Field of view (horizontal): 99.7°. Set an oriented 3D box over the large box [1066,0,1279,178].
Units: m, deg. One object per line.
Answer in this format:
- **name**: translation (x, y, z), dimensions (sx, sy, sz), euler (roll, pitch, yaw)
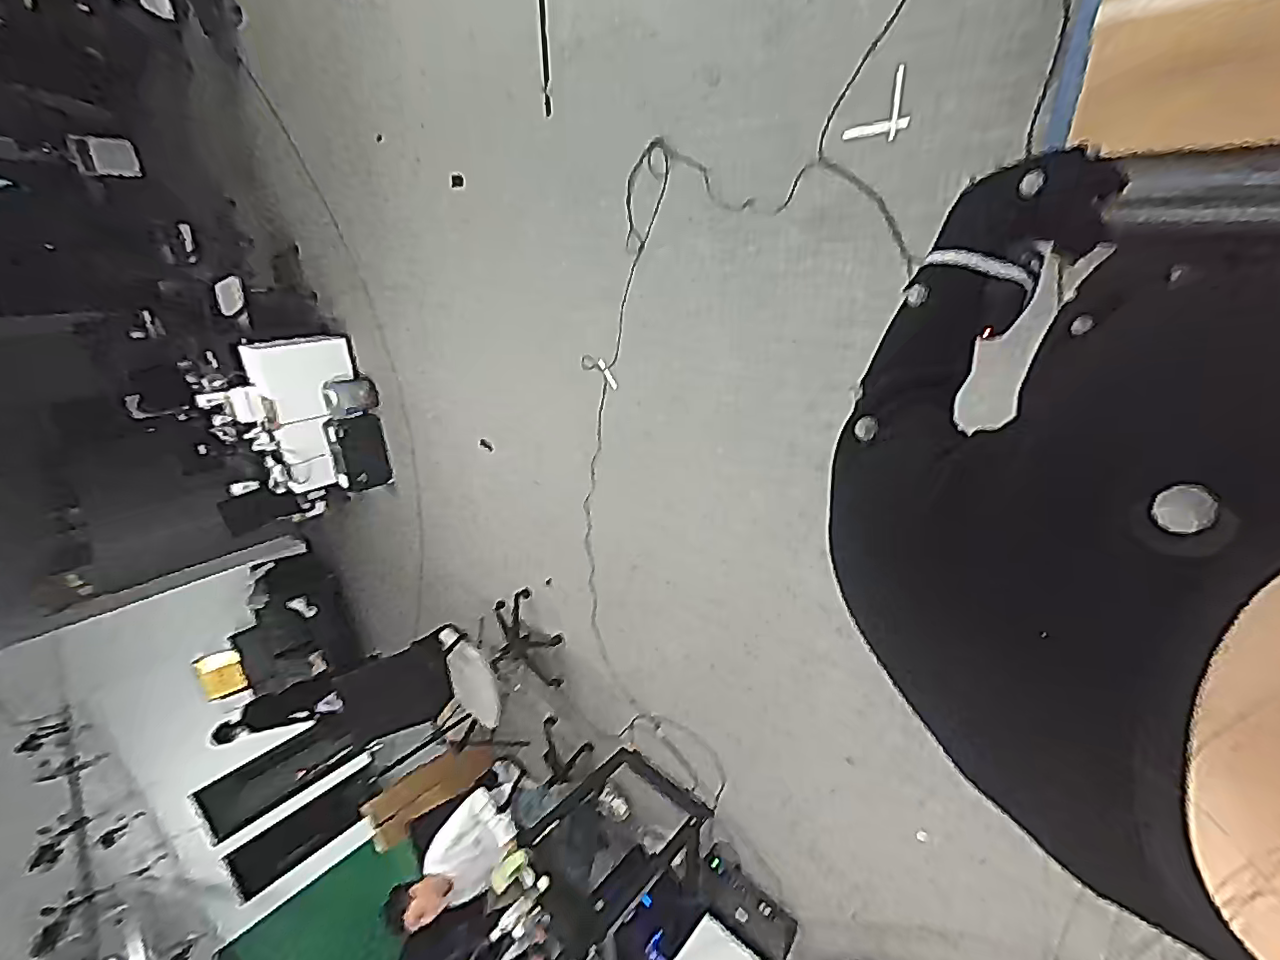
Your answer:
- **large box**: translation (0.816, -0.568, 0.652), dimensions (0.408, 0.320, 0.320), euler (19, 121, 37)
